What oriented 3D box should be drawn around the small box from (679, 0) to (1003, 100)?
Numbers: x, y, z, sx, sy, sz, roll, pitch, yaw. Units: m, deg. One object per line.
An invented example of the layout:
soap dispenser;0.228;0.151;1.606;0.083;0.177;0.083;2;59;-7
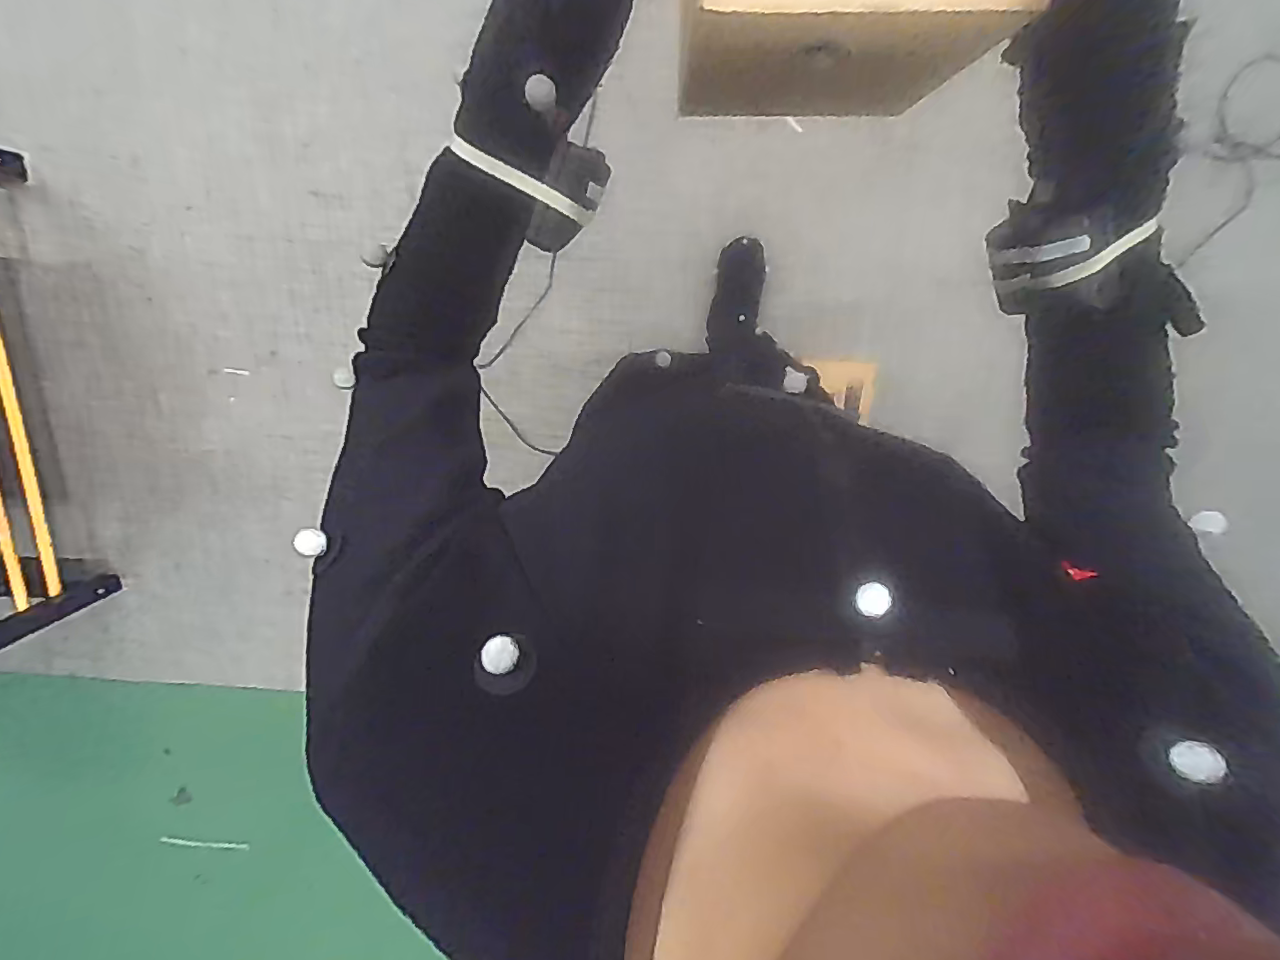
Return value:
small box;0.114;-0.345;0.317;0.179;0.176;0.168;0;109;0
